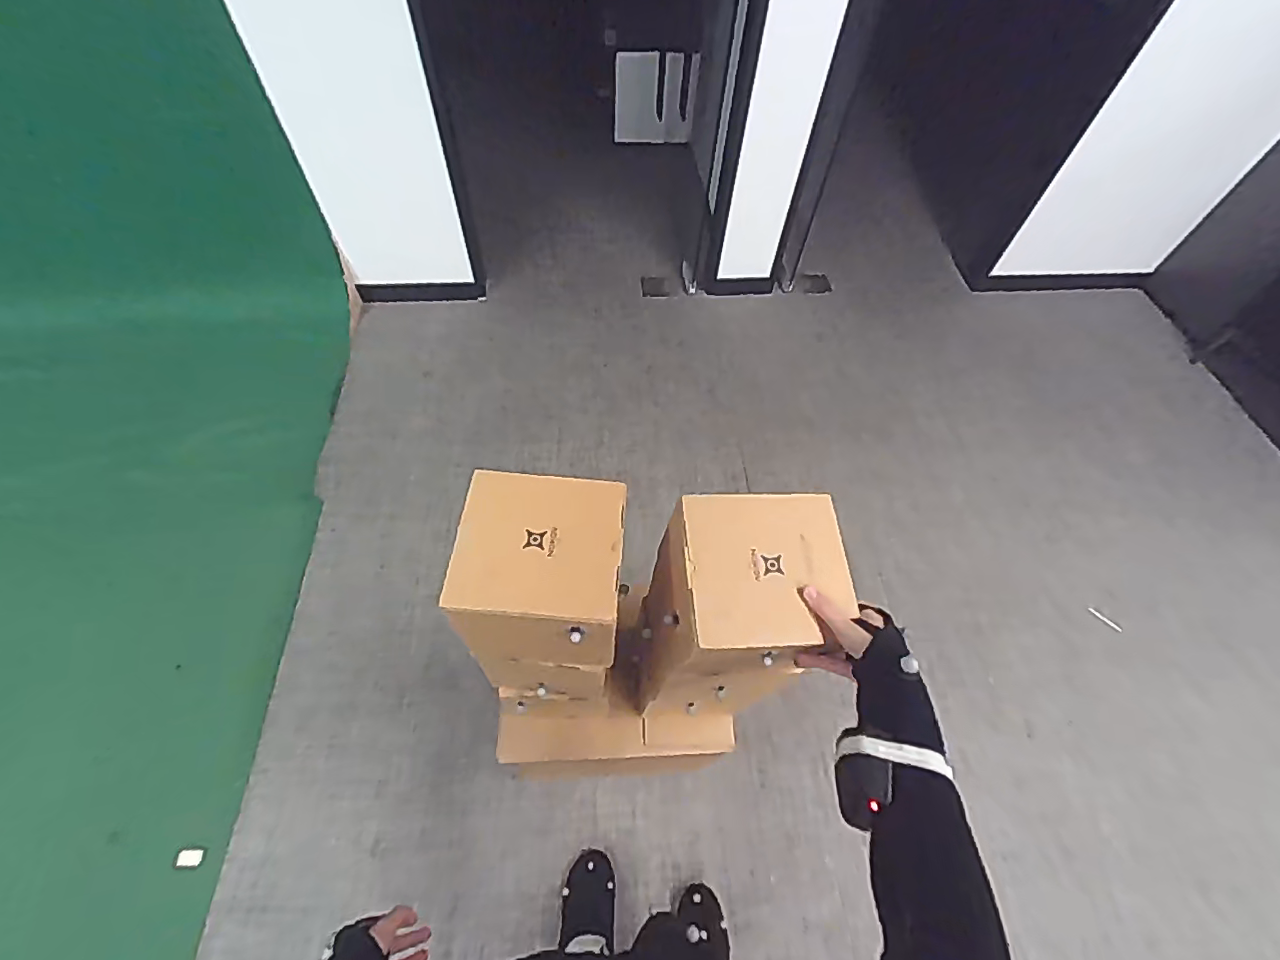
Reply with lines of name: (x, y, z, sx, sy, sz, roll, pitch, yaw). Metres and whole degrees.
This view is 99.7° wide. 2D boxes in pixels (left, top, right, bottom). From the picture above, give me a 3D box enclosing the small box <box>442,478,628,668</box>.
small box: (-0.110, 0.116, 0.642, 0.179, 0.176, 0.168, 5, 56, -2)
